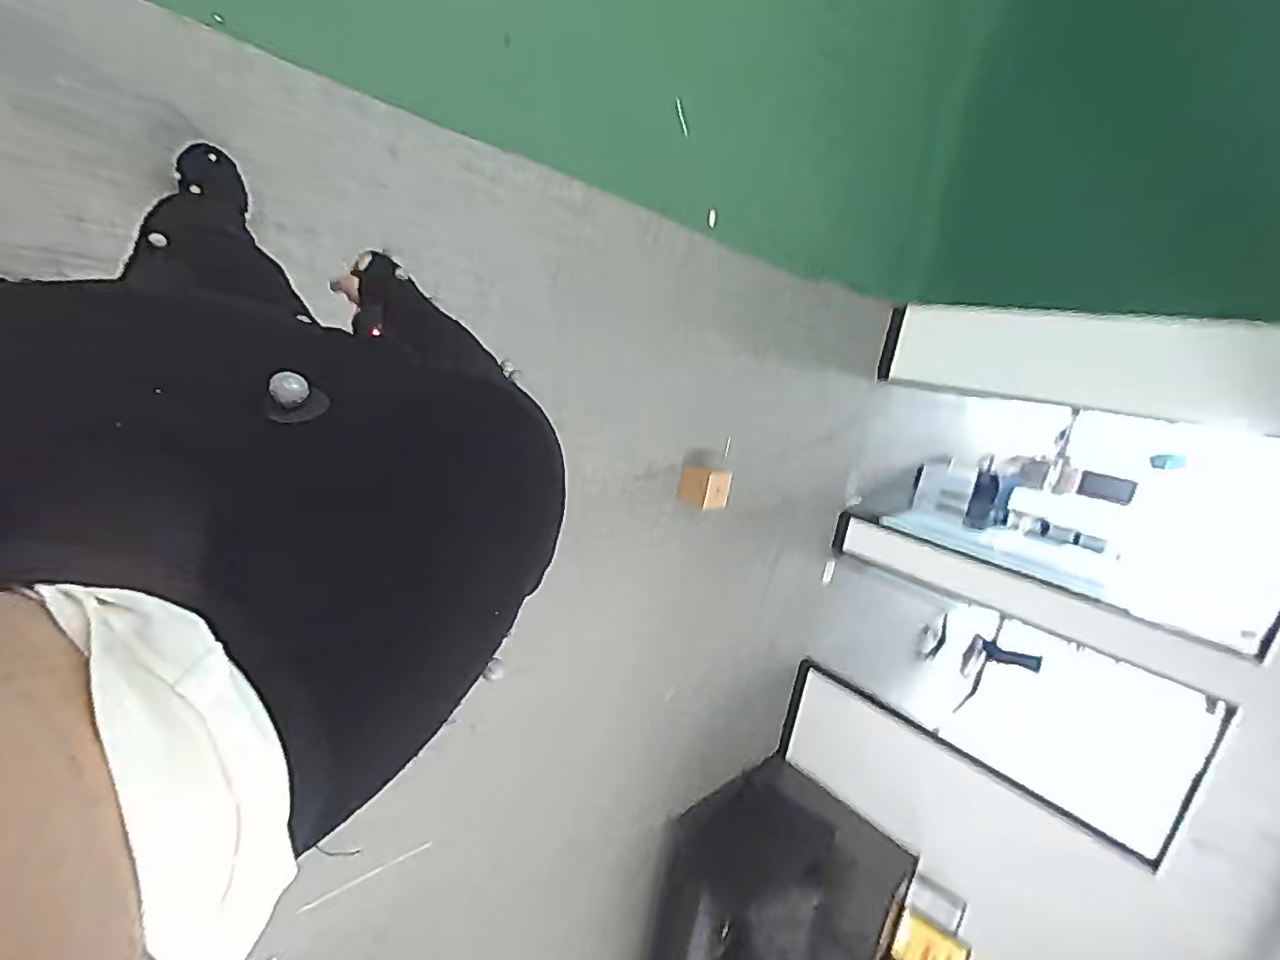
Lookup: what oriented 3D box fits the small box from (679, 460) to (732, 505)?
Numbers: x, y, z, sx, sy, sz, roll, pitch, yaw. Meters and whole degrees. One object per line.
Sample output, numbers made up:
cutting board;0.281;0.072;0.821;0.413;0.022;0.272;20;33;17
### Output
small box;0.304;0.008;2.529;0.168;0.176;0.179;-2;108;-43
